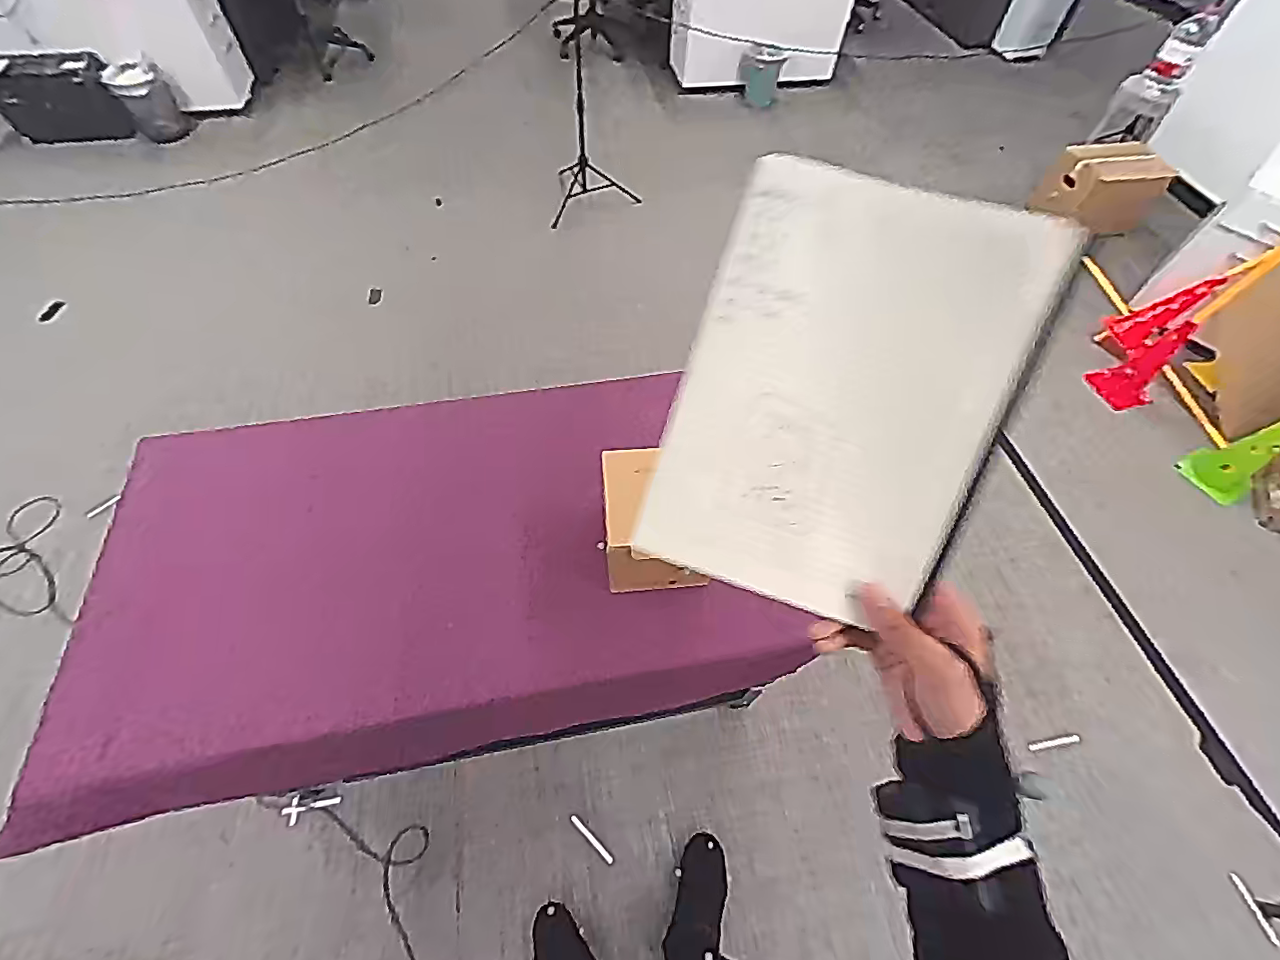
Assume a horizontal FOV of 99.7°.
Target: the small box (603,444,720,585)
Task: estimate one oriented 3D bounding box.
[{"bbox_3d":[0.027,0.062,0.881,0.168,0.176,0.179,-3,57,-5],"label":"small box"}]
